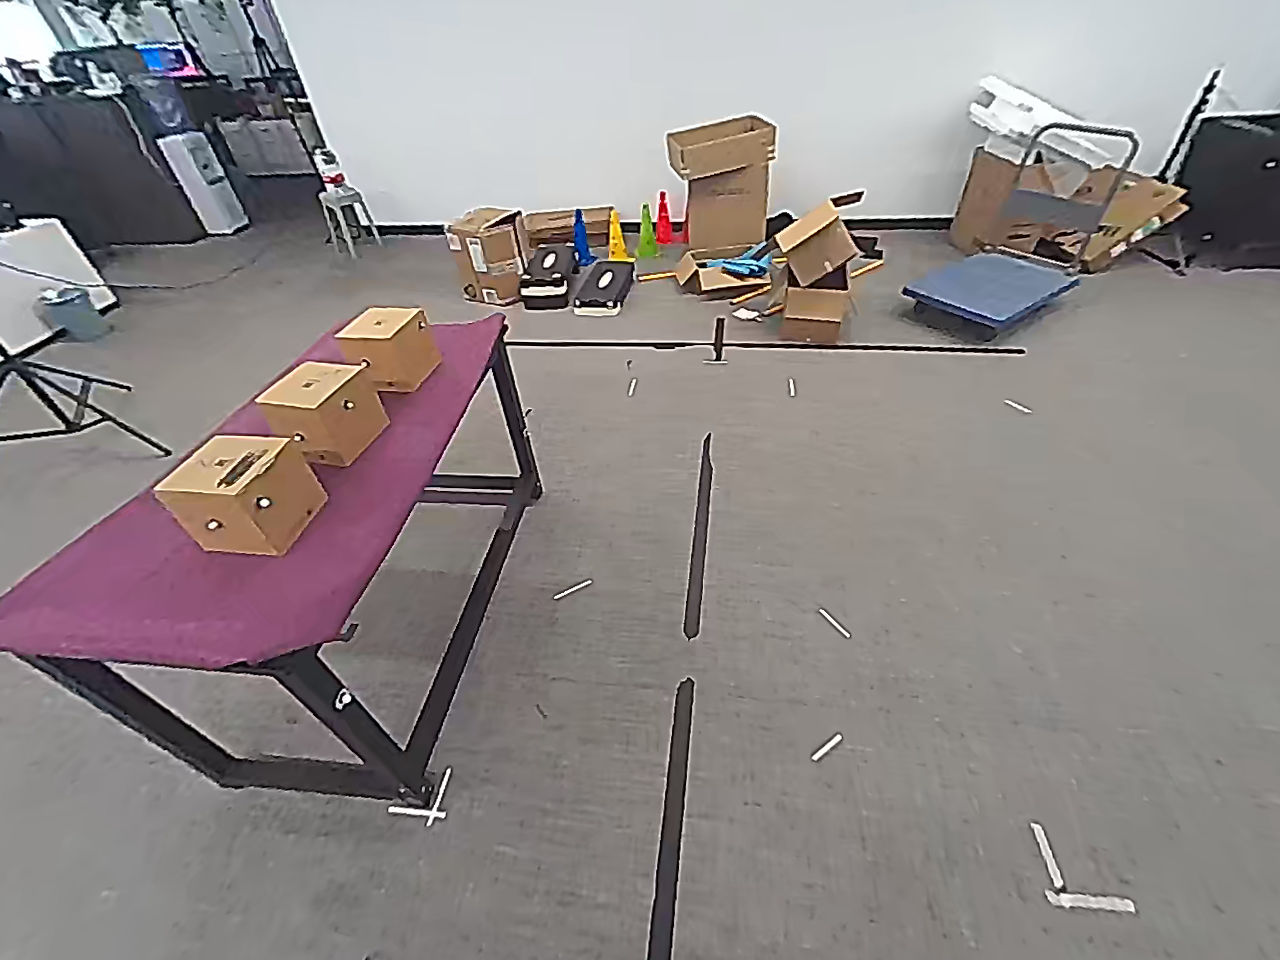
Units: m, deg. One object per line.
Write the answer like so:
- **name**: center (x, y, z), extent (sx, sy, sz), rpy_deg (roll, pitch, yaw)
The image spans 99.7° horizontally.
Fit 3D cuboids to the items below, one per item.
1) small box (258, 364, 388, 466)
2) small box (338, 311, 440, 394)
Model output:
- **small box**: center (-0.732, -0.153, 1.275), extent (0.168, 0.176, 0.179), rpy_deg (8, 43, 13)
- **small box**: center (-0.680, -0.352, 1.493), extent (0.168, 0.176, 0.179), rpy_deg (4, 42, 11)
